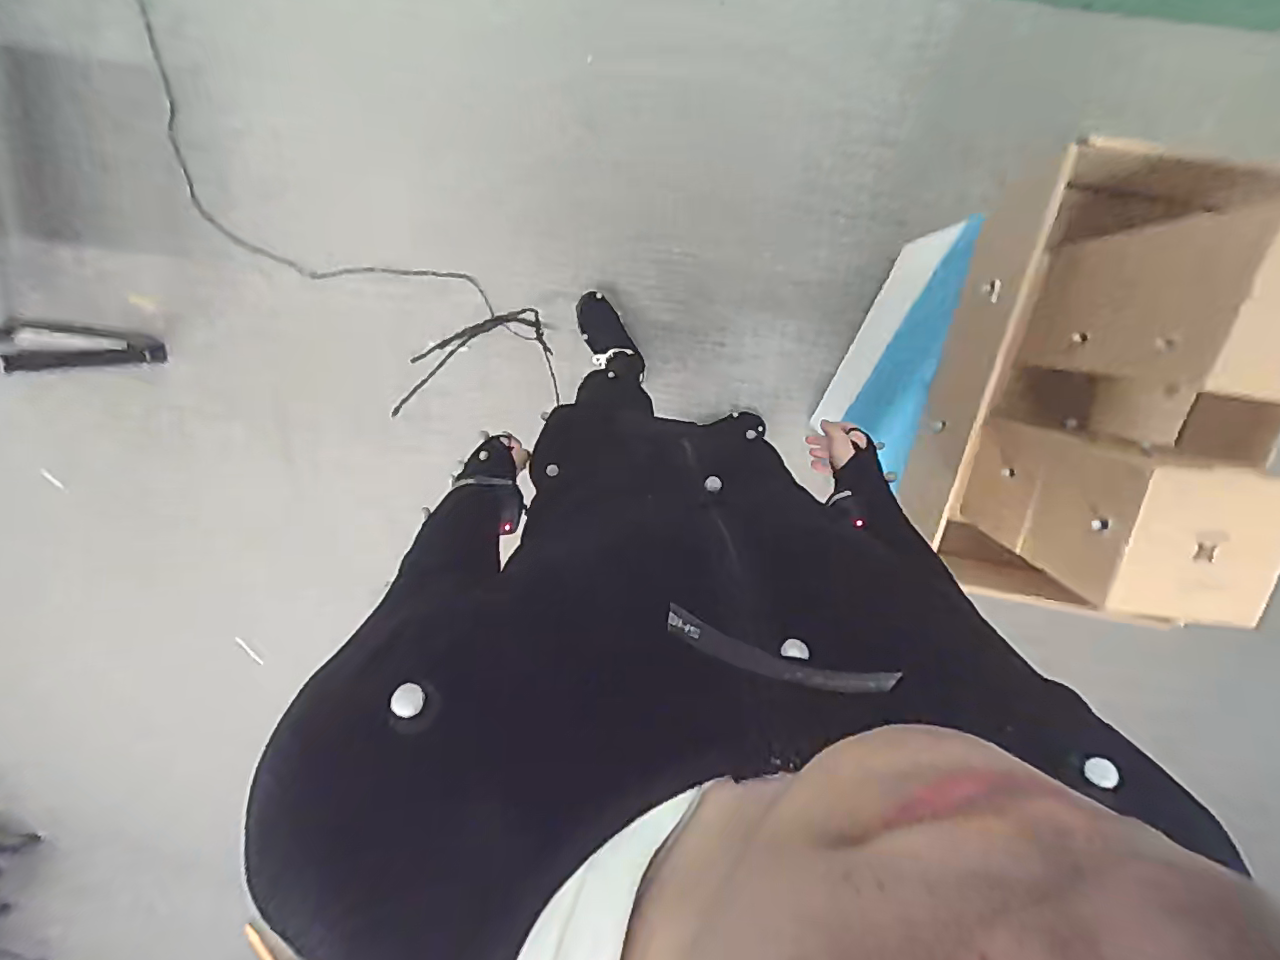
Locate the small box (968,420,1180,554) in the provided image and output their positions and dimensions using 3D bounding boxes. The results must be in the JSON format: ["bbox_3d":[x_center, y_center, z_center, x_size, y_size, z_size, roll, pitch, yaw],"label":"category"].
[{"bbox_3d":[0.635,0.011,0.820,0.168,0.176,0.179,8,106,3],"label":"small box"}]

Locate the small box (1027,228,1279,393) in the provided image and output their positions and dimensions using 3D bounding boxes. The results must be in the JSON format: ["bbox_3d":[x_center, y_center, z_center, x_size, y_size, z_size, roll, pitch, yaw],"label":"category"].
[{"bbox_3d":[0.686,-0.231,0.747,0.168,0.176,0.179,10,109,2],"label":"small box"}]

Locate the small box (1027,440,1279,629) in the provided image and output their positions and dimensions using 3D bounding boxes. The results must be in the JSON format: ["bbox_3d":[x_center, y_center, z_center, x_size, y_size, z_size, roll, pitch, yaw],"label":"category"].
[{"bbox_3d":[0.621,0.054,0.662,0.168,0.176,0.179,7,106,4],"label":"small box"}]
